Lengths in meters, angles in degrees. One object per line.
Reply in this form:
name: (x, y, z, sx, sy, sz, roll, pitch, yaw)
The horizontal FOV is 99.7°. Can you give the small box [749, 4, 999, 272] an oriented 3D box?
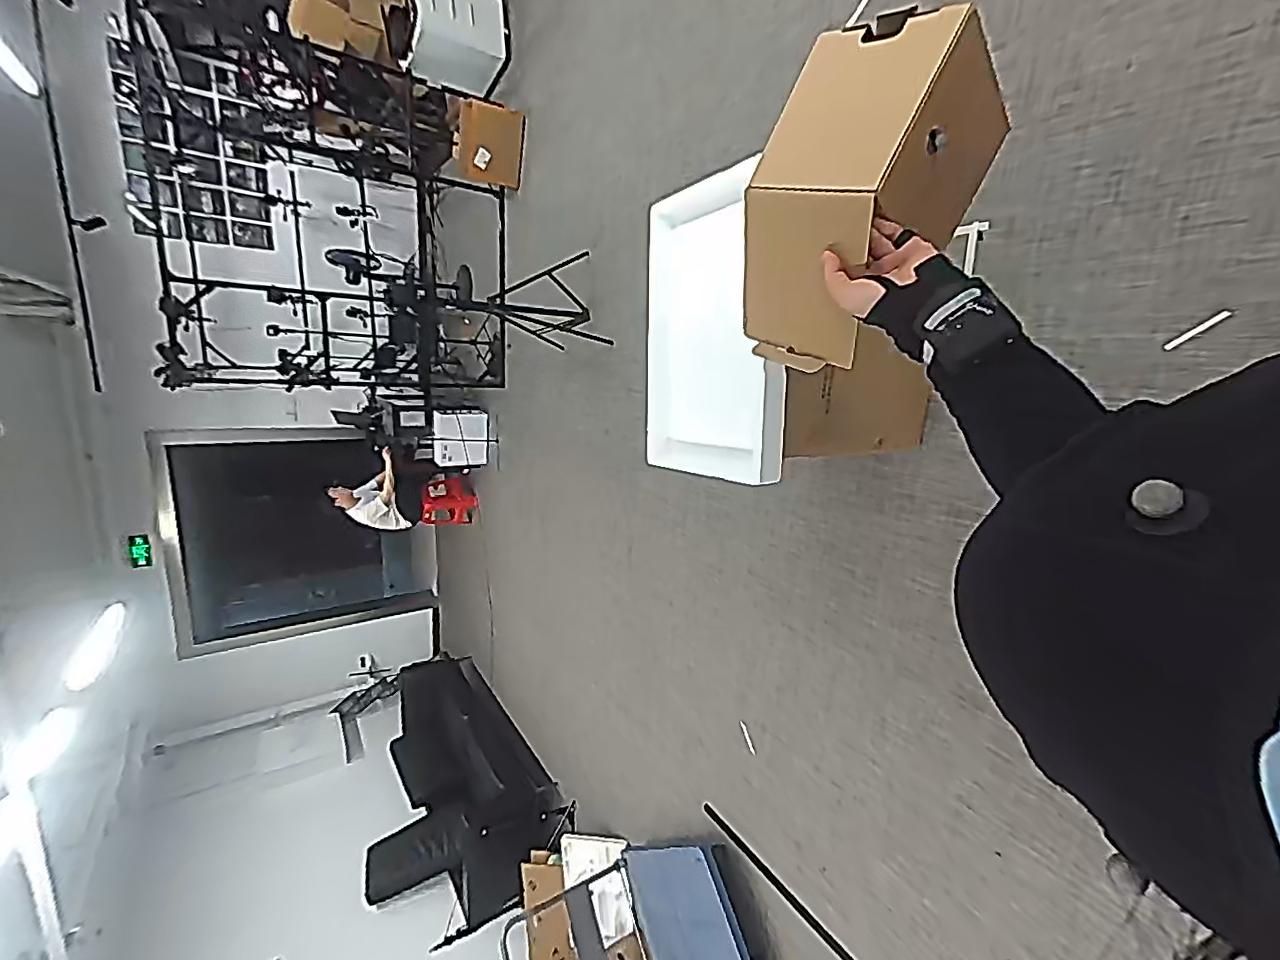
small box: (0.260, -0.355, 0.597, 0.168, 0.176, 0.179, 35, 101, 44)
